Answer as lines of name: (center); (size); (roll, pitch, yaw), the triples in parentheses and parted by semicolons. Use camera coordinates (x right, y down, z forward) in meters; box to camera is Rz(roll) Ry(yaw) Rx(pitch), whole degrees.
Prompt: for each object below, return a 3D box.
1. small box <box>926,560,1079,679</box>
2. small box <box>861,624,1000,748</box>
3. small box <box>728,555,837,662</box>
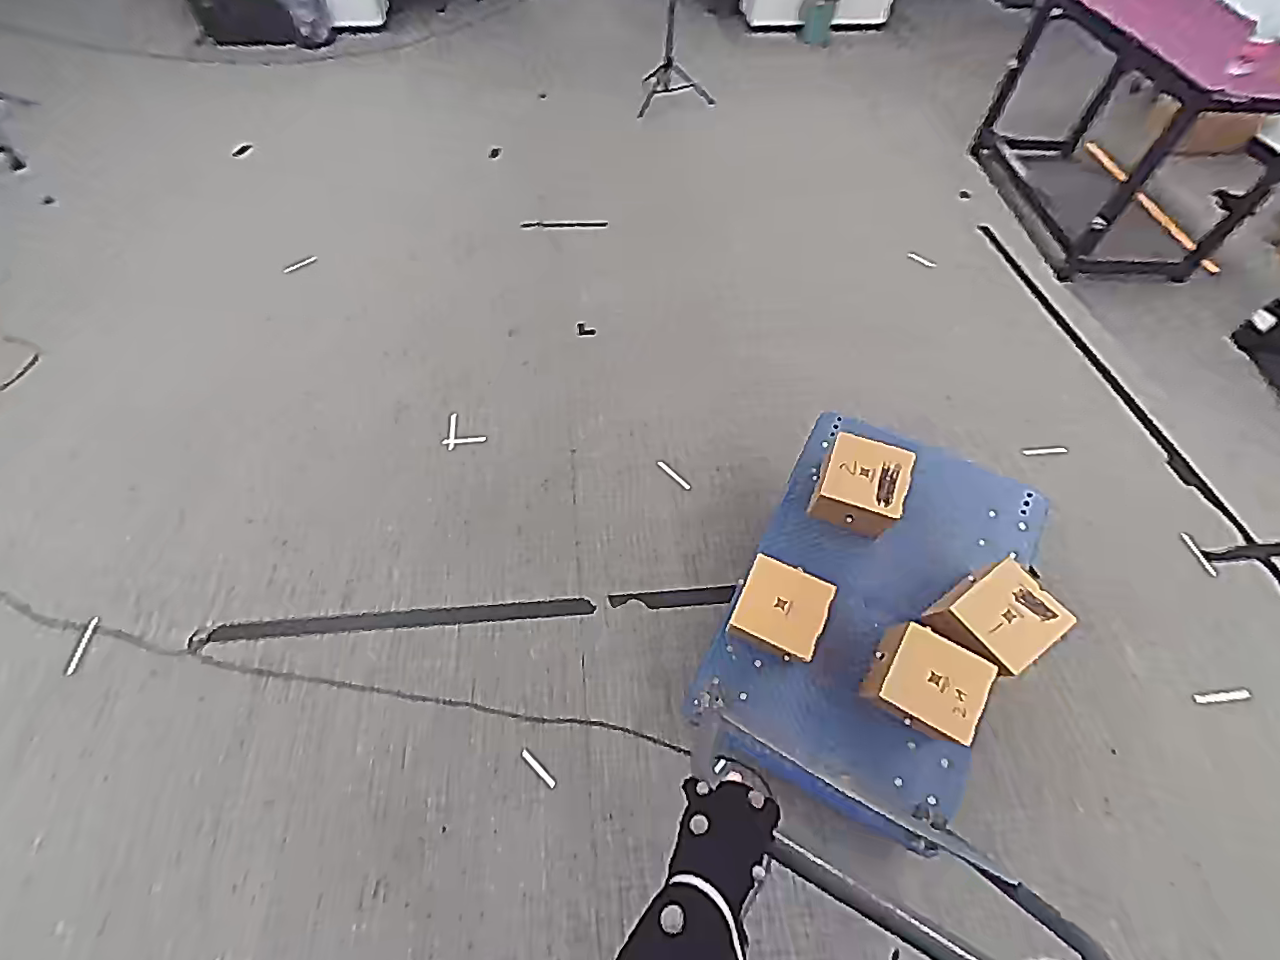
small box: (0.745, 0.297, 1.136); (0.179, 0.176, 0.168); (-36, 69, -7)
small box: (0.582, 0.419, 1.108); (0.179, 0.176, 0.168); (28, 75, 16)
small box: (0.304, 0.291, 1.191); (0.179, 0.176, 0.168); (23, 73, 13)
